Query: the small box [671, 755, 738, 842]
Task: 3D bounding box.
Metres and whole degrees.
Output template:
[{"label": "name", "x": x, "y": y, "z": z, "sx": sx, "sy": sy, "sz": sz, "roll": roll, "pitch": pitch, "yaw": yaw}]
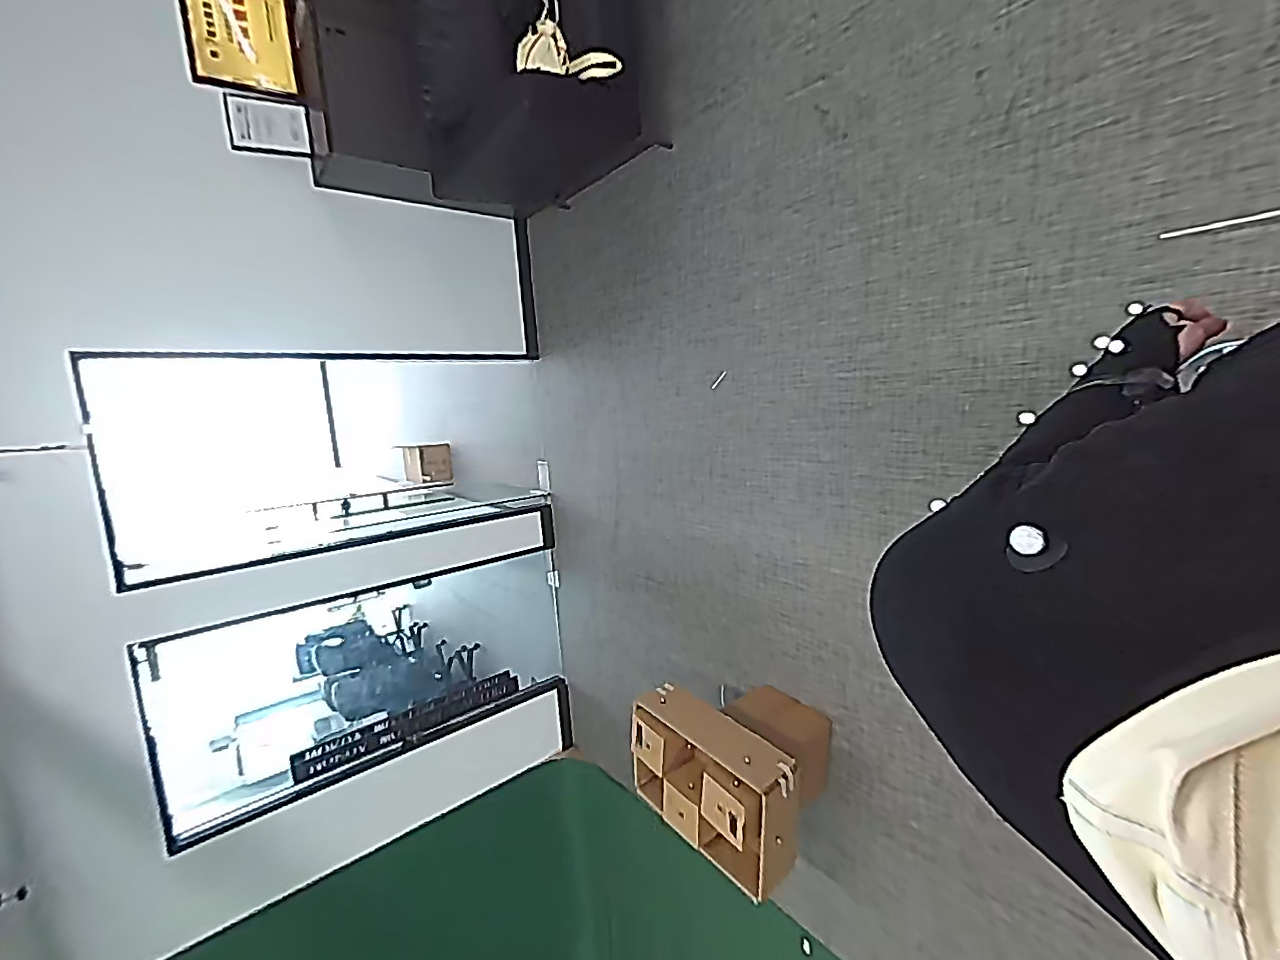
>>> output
[{"label": "small box", "x": 0.227, "y": 1.109, "z": 1.903, "sx": 0.179, "sy": 0.176, "sz": 0.168, "roll": 14, "pitch": 108, "yaw": 49}]
